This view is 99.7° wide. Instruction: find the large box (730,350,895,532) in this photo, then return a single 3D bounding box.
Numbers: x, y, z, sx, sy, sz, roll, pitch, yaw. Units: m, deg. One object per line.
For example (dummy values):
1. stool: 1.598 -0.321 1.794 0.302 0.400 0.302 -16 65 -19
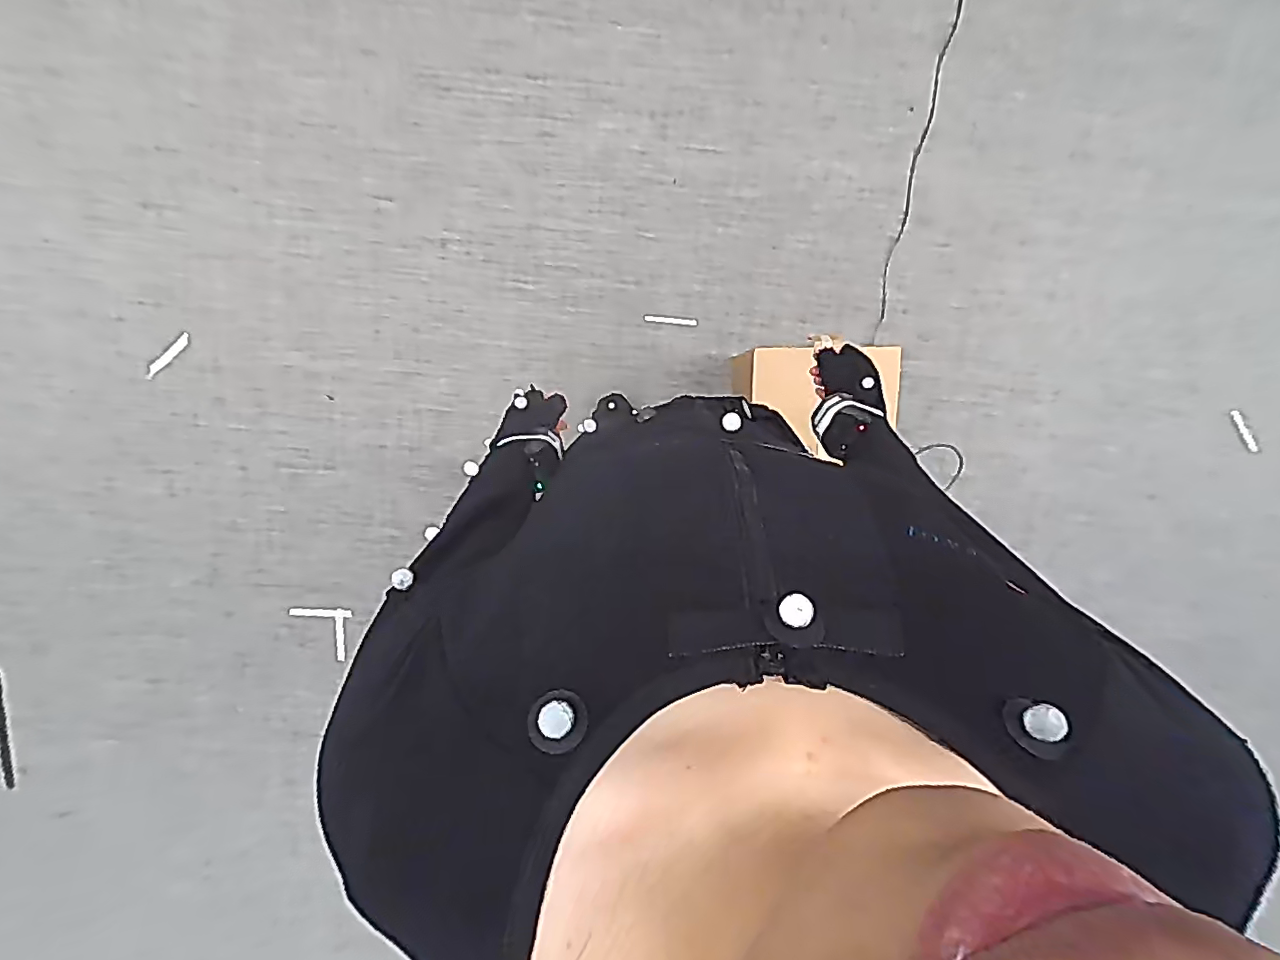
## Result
1. large box: 0.402 -0.108 1.344 0.320 0.320 0.408 0 101 1
